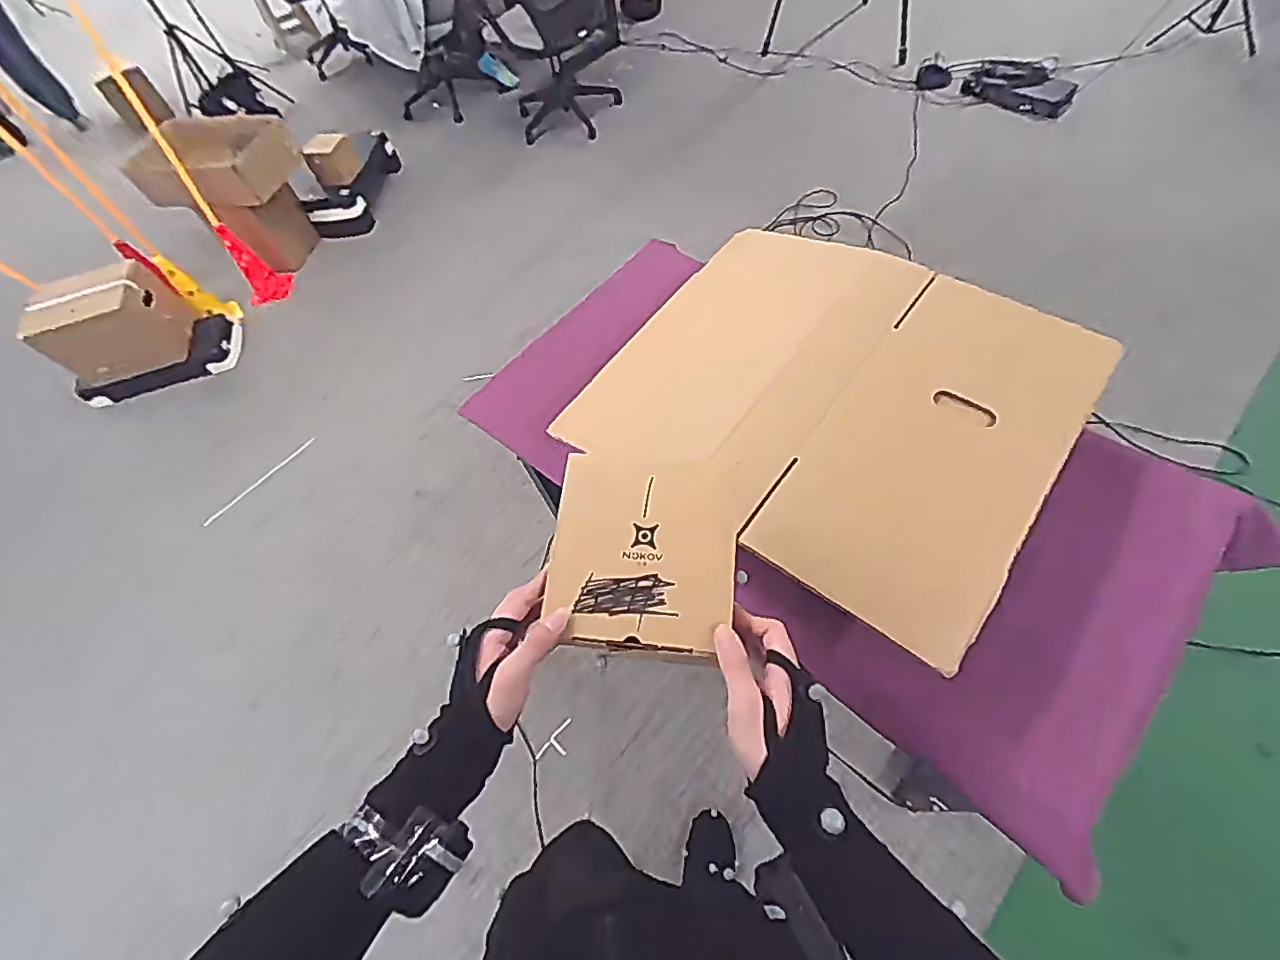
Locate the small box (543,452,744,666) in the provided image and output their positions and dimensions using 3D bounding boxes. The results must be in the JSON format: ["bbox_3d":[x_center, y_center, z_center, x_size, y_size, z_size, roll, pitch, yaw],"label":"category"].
[{"bbox_3d":[0.016,0.088,0.552,0.168,0.176,0.179,4,67,9],"label":"small box"}]
